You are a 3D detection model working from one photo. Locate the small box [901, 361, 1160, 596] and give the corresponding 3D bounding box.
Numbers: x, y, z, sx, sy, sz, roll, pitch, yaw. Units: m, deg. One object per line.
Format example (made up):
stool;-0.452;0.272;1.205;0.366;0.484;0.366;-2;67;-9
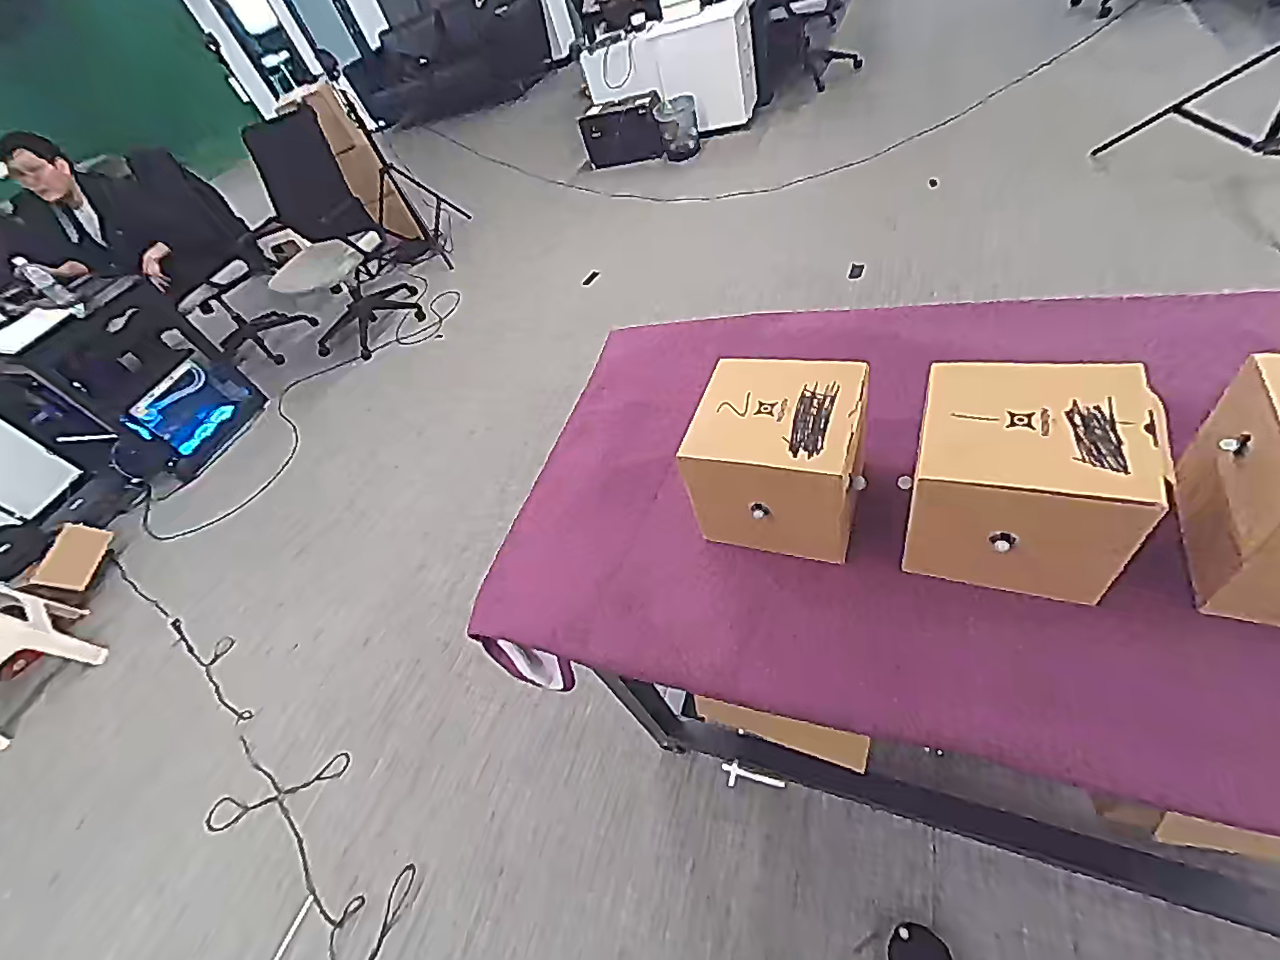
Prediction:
small box;0.376;-0.001;0.552;0.179;0.176;0.168;7;54;27
